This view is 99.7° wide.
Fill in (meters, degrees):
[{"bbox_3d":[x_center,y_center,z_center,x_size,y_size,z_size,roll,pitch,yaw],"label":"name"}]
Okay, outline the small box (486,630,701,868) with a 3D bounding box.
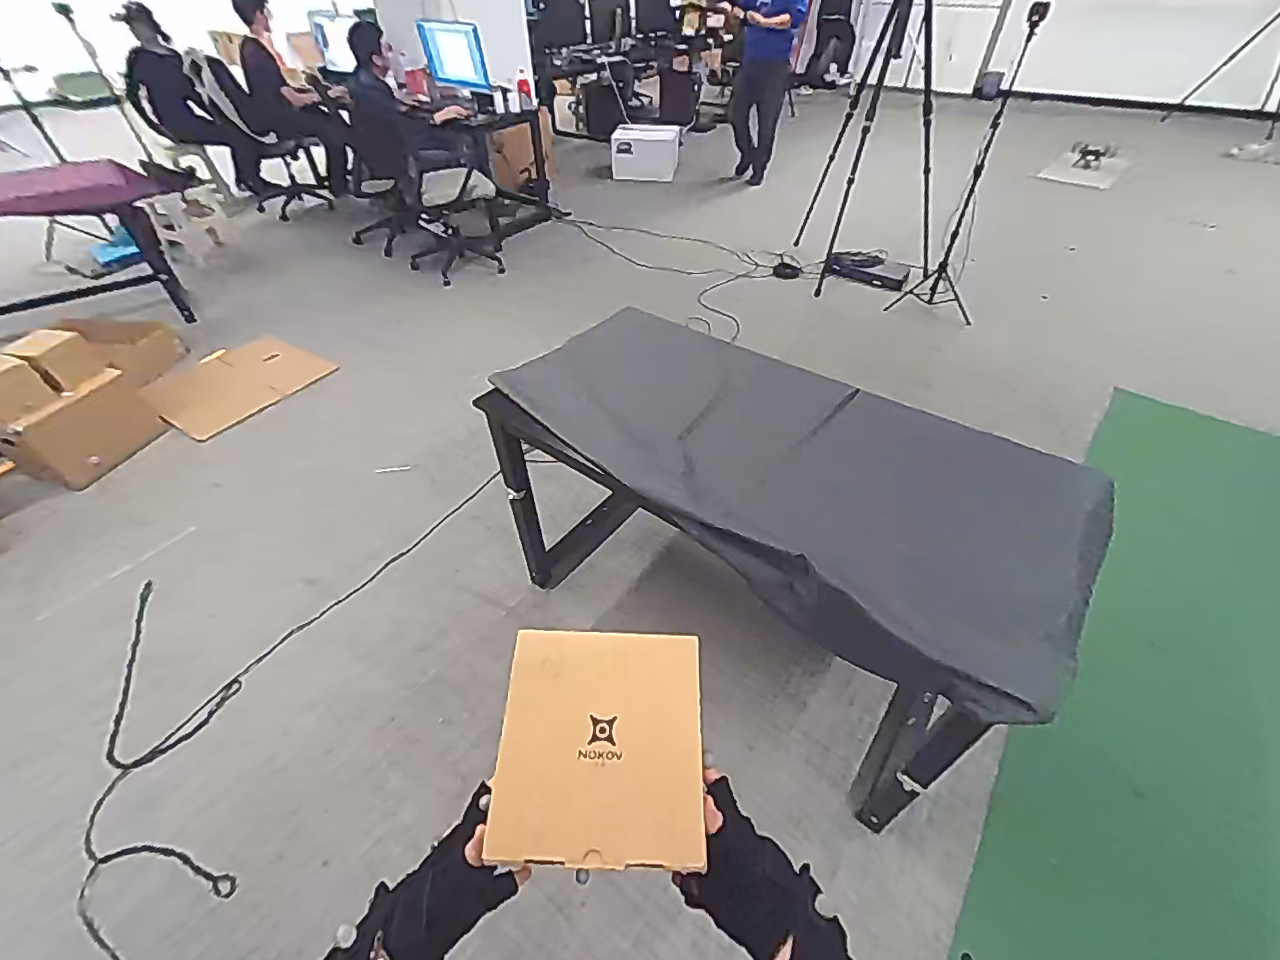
[{"bbox_3d":[-0.037,0.260,0.517,0.168,0.176,0.179,3,55,-1],"label":"small box"}]
